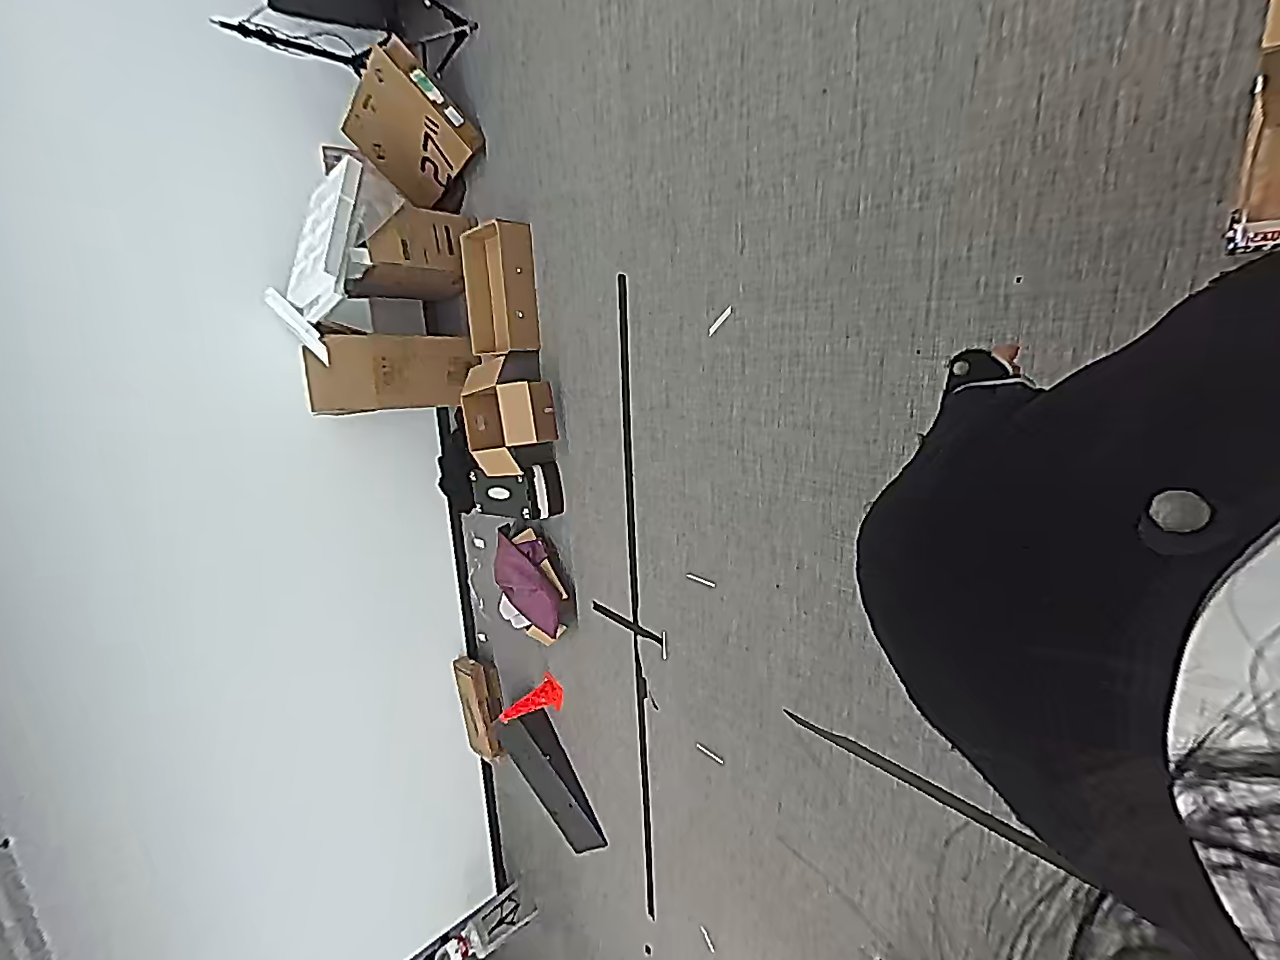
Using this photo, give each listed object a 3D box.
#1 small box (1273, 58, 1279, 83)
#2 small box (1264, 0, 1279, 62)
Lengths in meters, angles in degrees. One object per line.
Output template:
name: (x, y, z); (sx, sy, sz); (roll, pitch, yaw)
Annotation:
small box: (0.734, -0.487, 0.504); (0.168, 0.176, 0.179); (12, 112, 50)
small box: (0.613, -0.442, 0.401); (0.168, 0.176, 0.179); (14, 114, 49)
